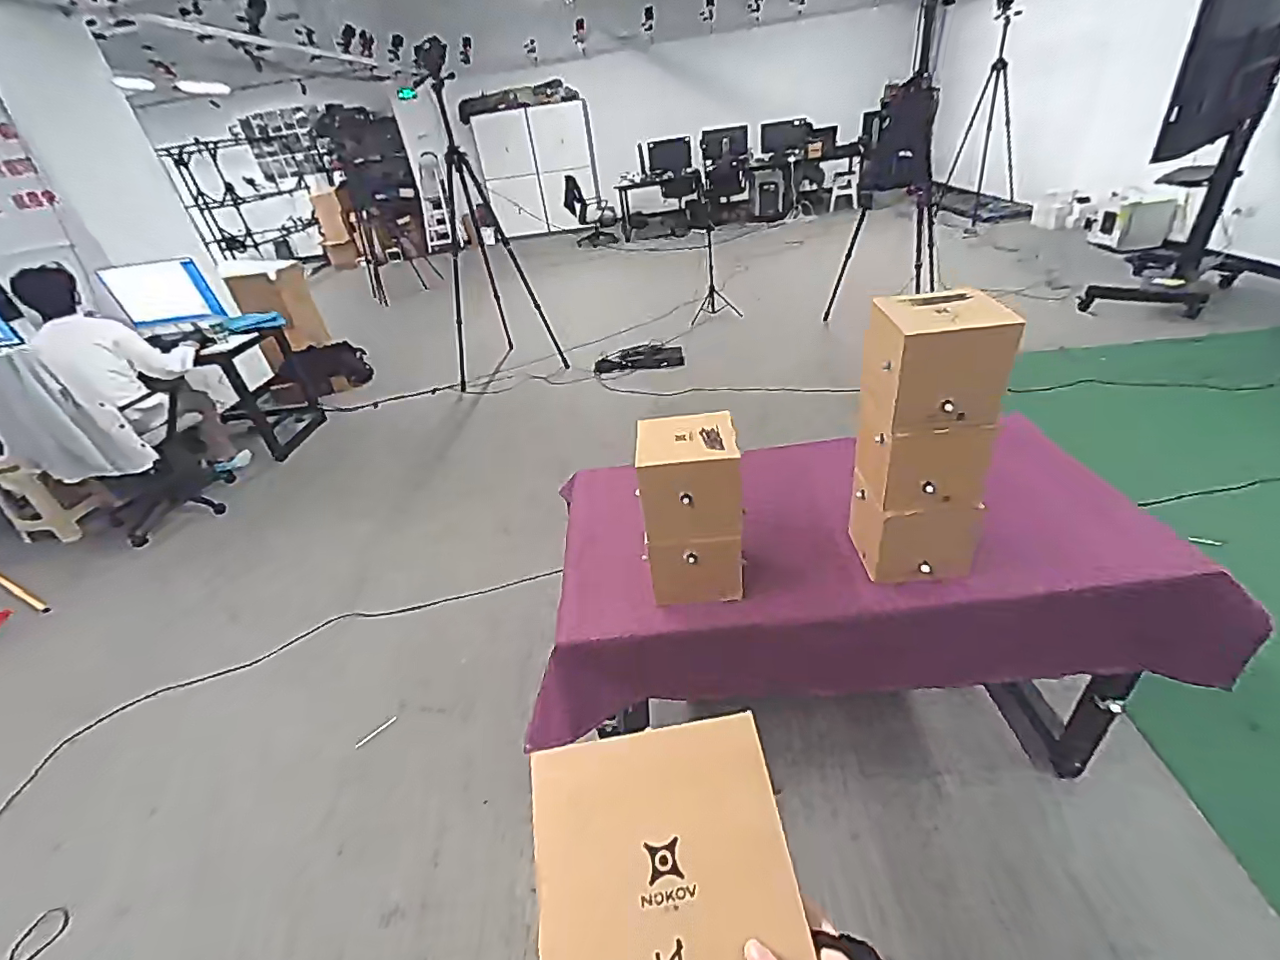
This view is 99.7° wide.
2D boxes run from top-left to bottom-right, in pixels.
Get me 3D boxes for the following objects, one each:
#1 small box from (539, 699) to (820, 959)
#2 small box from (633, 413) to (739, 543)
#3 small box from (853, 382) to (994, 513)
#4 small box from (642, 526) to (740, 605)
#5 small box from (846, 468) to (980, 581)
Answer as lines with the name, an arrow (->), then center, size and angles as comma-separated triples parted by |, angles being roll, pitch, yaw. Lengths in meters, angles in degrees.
small box -> 0.021, 0.292, 0.421 | 0.168, 0.176, 0.179 | -10, 57, -3
small box -> 0.087, -0.003, 0.994 | 0.179, 0.176, 0.168 | -7, 34, 6
small box -> 0.497, -0.060, 0.980 | 0.168, 0.176, 0.179 | -6, 34, 6
small box -> 0.103, 0.134, 1.083 | 0.179, 0.176, 0.168 | -5, 34, 6
small box -> 0.520, 0.080, 1.060 | 0.179, 0.176, 0.168 | -6, 33, 5
